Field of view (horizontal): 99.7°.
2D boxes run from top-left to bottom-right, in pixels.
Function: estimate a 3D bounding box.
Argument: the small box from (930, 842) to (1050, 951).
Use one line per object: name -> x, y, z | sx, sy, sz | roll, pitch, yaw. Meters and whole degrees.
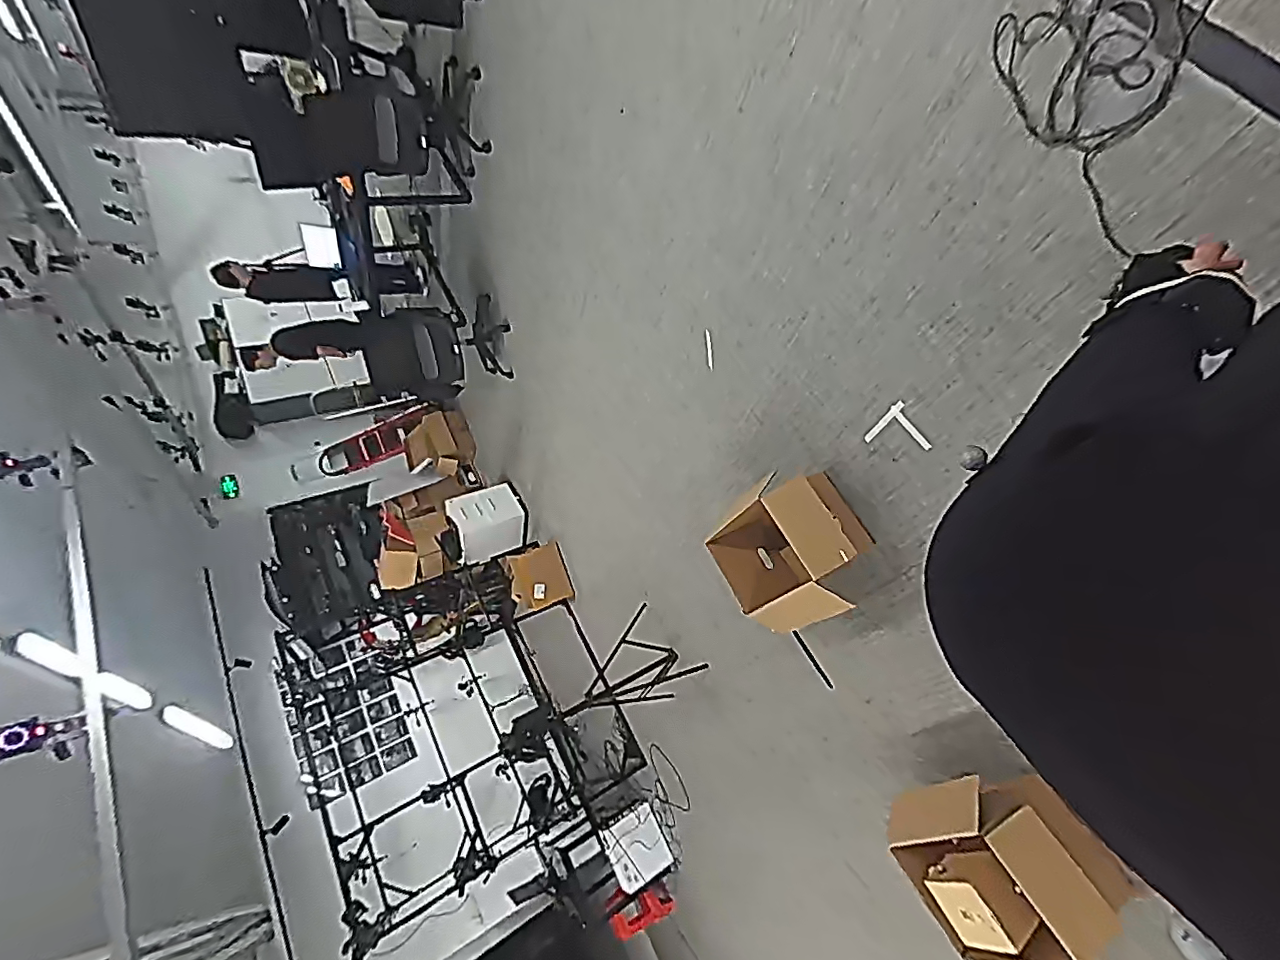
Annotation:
small box -> 0.935, 1.101, 1.444 | 0.168, 0.176, 0.179 | 57, 148, 22
